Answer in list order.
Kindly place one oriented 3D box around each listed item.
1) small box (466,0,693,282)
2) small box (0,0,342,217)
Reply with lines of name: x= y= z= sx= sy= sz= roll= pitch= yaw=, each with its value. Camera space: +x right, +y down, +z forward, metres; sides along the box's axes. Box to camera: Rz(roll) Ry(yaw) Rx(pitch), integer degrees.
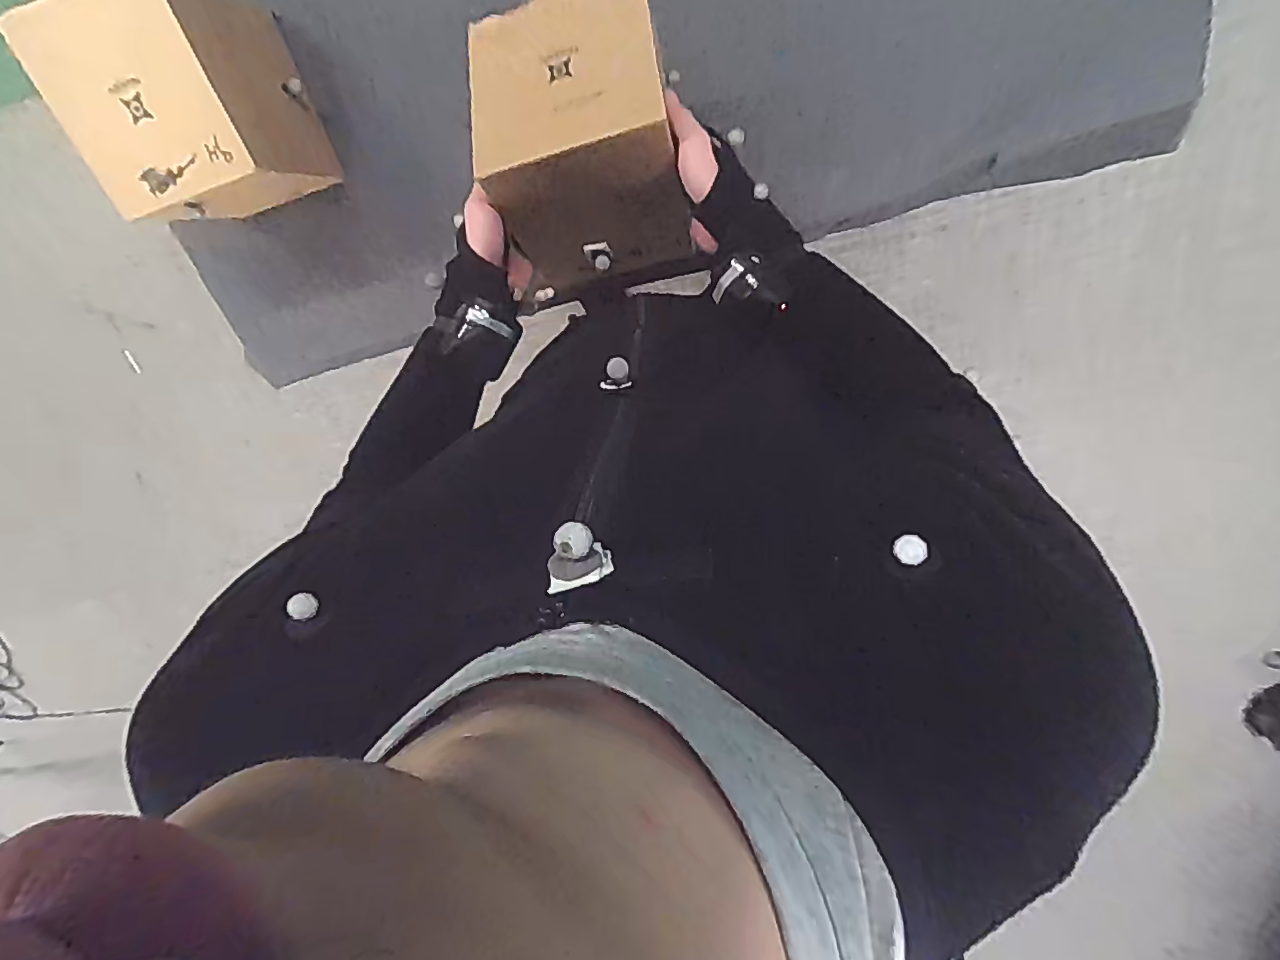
small box: x=-0.048 y=-0.326 z=0.520 sx=0.168 sy=0.176 sz=0.179 roll=-10 pitch=77 yaw=12
small box: x=-0.467 y=-0.395 z=0.574 sx=0.168 sy=0.176 sz=0.179 roll=-13 pitch=116 yaw=11
